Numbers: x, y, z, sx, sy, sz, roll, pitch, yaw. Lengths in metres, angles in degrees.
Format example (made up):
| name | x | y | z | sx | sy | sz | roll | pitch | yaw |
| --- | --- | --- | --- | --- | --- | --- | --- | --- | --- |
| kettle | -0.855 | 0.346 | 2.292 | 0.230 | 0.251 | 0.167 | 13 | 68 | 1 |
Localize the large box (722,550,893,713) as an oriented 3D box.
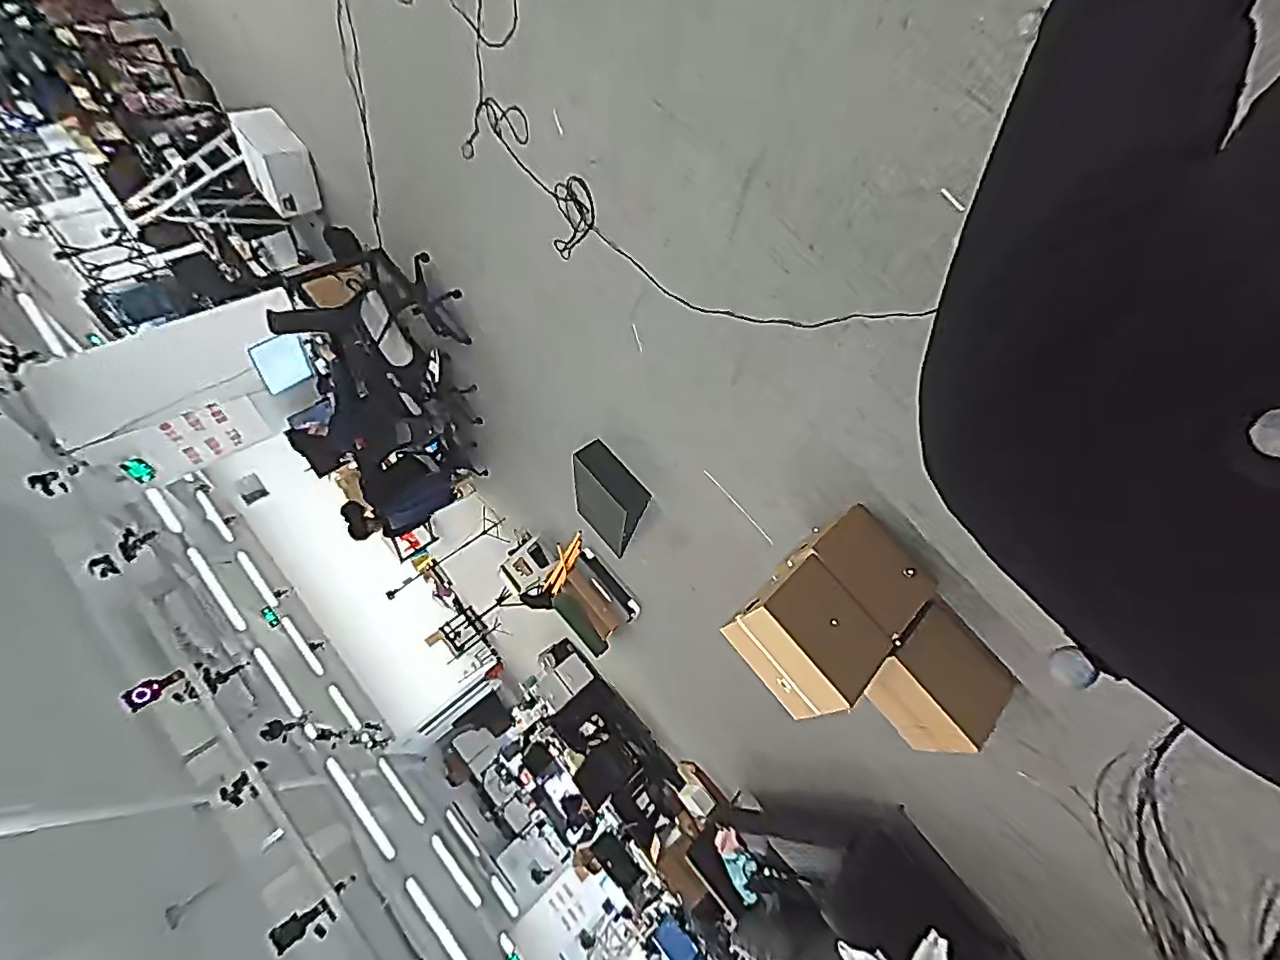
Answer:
| name | x | y | z | sx | sy | sz | roll | pitch | yaw |
| --- | --- | --- | --- | --- | --- | --- | --- | --- | --- |
| large box | 0.575 | 0.525 | 1.882 | 0.408 | 0.320 | 0.320 | 48 | 147 | 10 |
